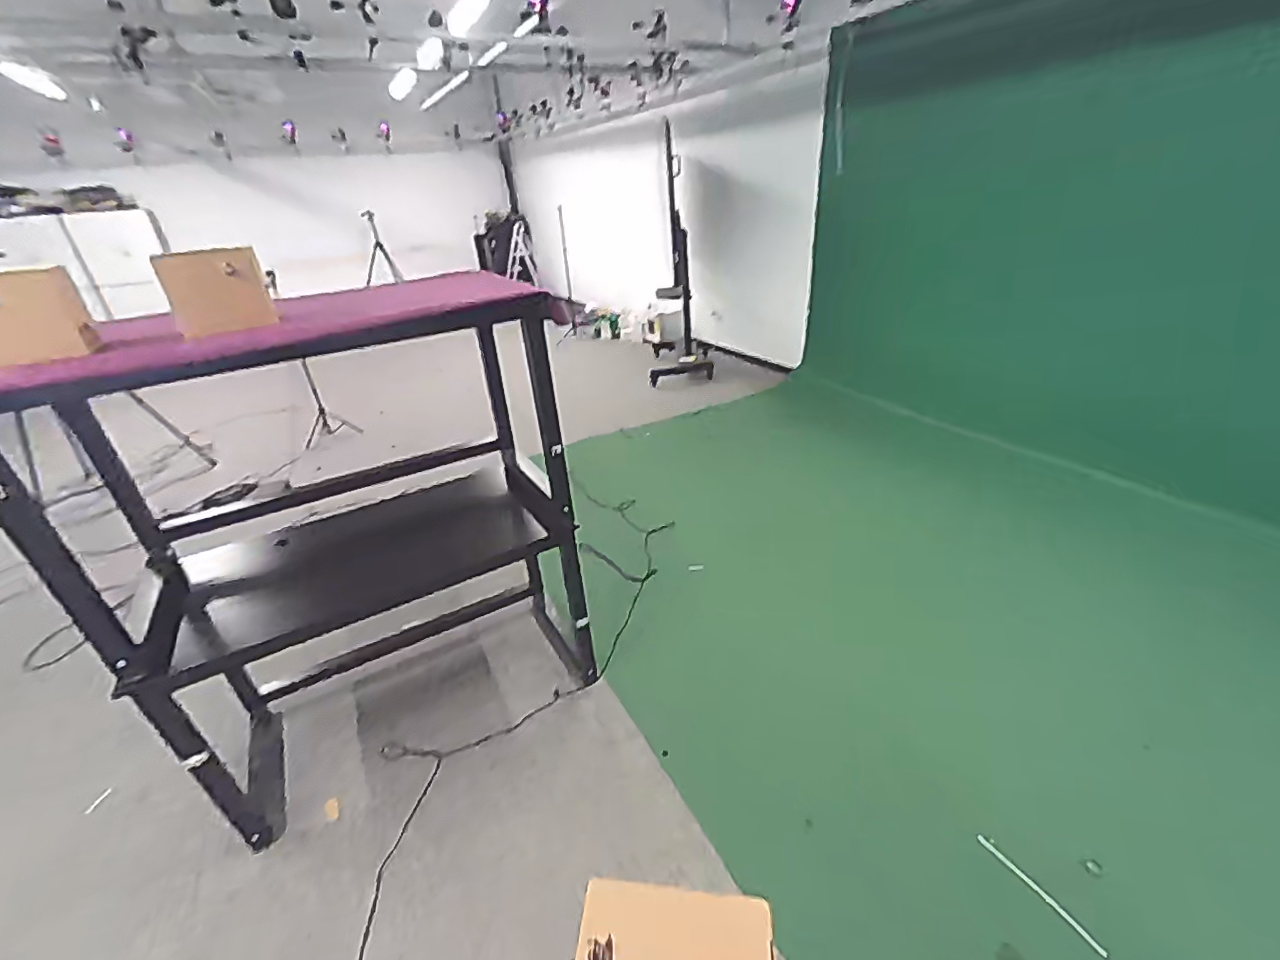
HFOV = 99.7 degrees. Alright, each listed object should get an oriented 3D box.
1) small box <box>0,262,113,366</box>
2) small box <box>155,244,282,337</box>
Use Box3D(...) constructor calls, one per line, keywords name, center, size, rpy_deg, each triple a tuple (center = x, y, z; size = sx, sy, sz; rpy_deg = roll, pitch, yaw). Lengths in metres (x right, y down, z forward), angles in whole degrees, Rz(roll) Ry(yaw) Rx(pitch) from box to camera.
Box3D(name="small box", center=(-1.216, -0.332, 1.077), size=(0.179, 0.176, 0.168), rpy_deg=(-19, 32, -28))
Box3D(name="small box", center=(-0.937, -0.433, 1.225), size=(0.179, 0.176, 0.168), rpy_deg=(-19, 30, -24))
